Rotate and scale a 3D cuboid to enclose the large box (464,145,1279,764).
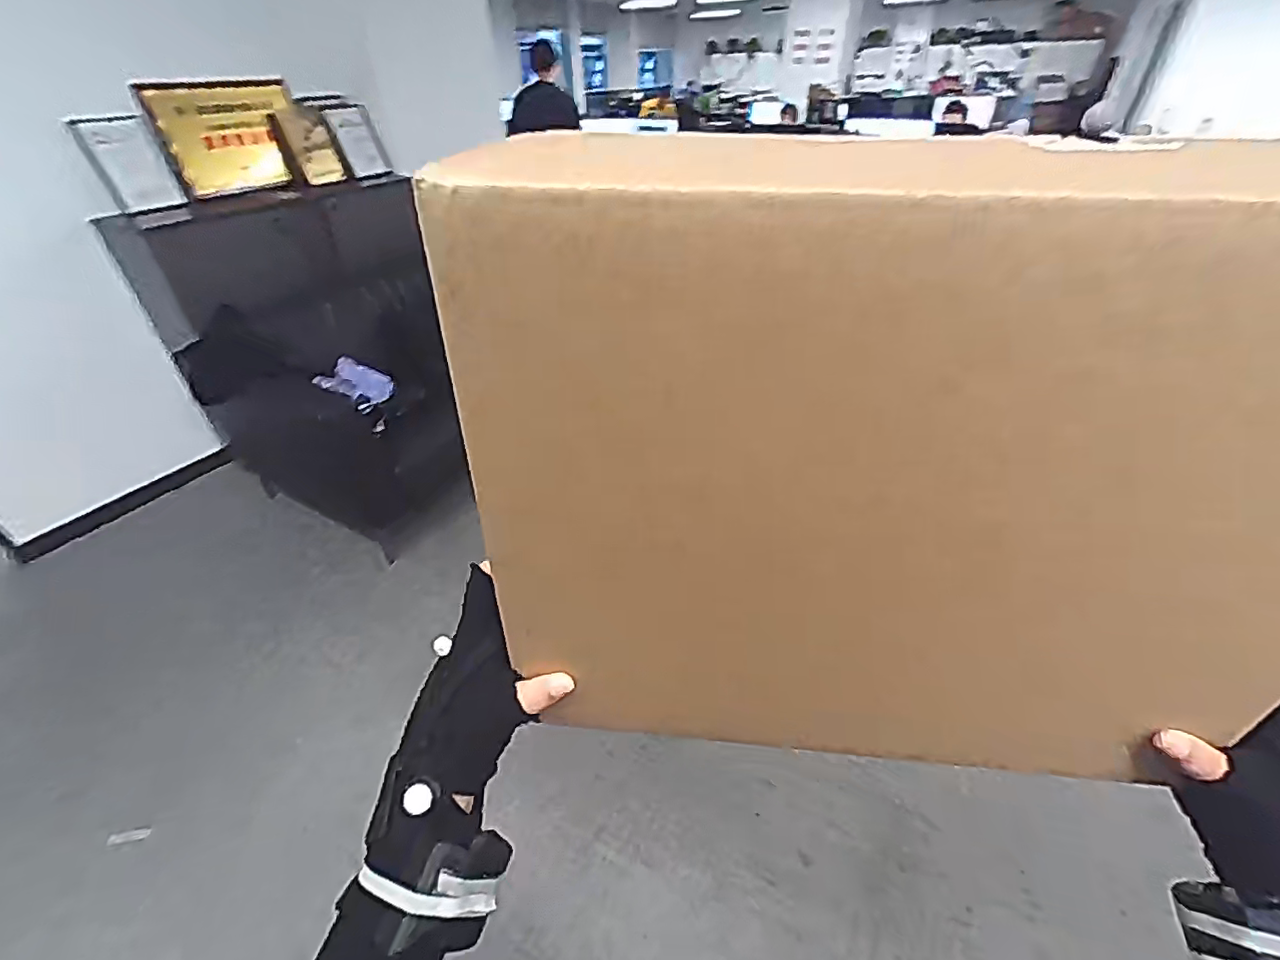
[{"bbox_3d":[0.140,-0.042,0.377,0.408,0.320,0.320,4,35,3],"label":"large box"}]
